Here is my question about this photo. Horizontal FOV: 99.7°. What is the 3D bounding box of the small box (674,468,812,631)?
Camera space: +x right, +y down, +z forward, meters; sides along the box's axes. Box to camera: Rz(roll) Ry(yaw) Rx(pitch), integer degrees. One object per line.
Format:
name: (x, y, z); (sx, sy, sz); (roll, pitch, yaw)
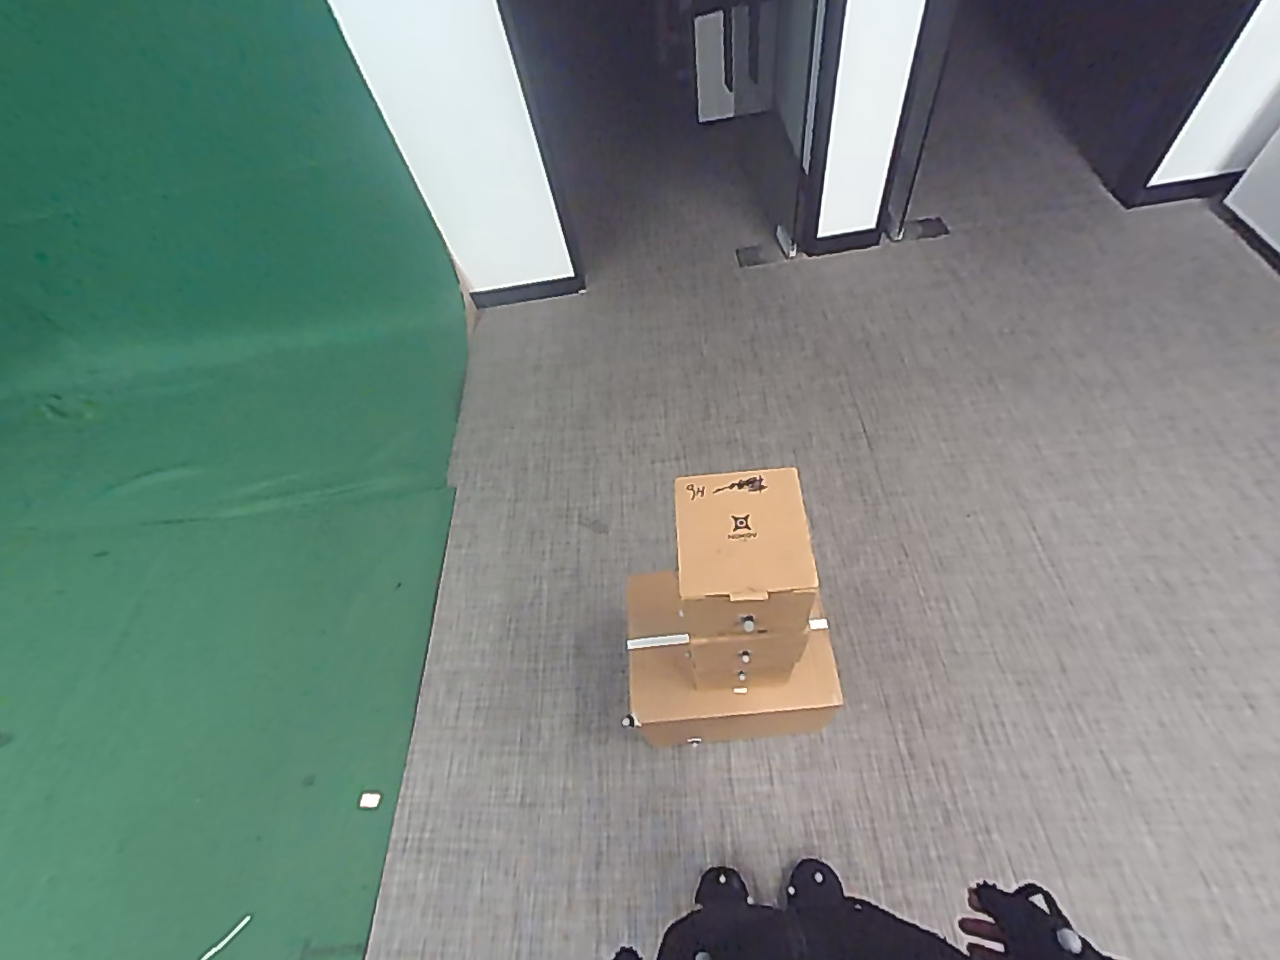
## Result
small box: (0.139, 0.106, 0.753); (0.168, 0.176, 0.179); (-5, 58, 8)

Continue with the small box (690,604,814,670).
small box: (0.166, 0.201, 0.883); (0.179, 0.176, 0.168); (-9, 57, 4)

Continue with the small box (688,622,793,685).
small box: (0.183, 0.285, 1.023); (0.179, 0.176, 0.168); (-6, 57, 6)
